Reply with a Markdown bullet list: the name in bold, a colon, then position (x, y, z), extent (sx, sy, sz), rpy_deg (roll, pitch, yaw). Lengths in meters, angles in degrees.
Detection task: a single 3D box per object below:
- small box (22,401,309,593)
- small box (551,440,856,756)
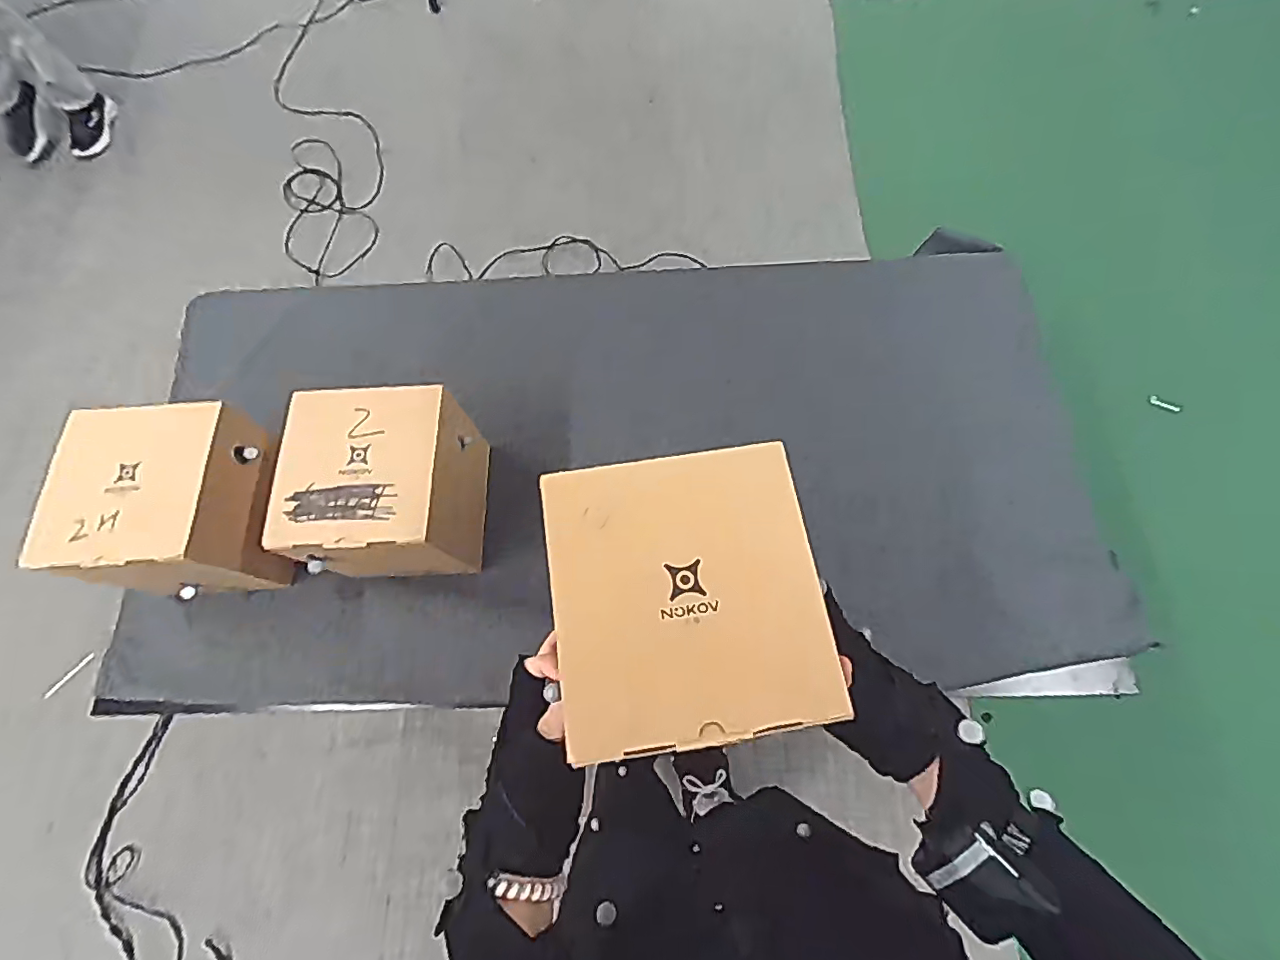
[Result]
- **small box**: position (-0.519, 0.027, 0.626), extent (0.168, 0.176, 0.179), rpy_deg (-4, 70, 0)
- **small box**: position (0.031, 0.090, 0.408), extent (0.168, 0.176, 0.179), rpy_deg (-8, 72, -4)
